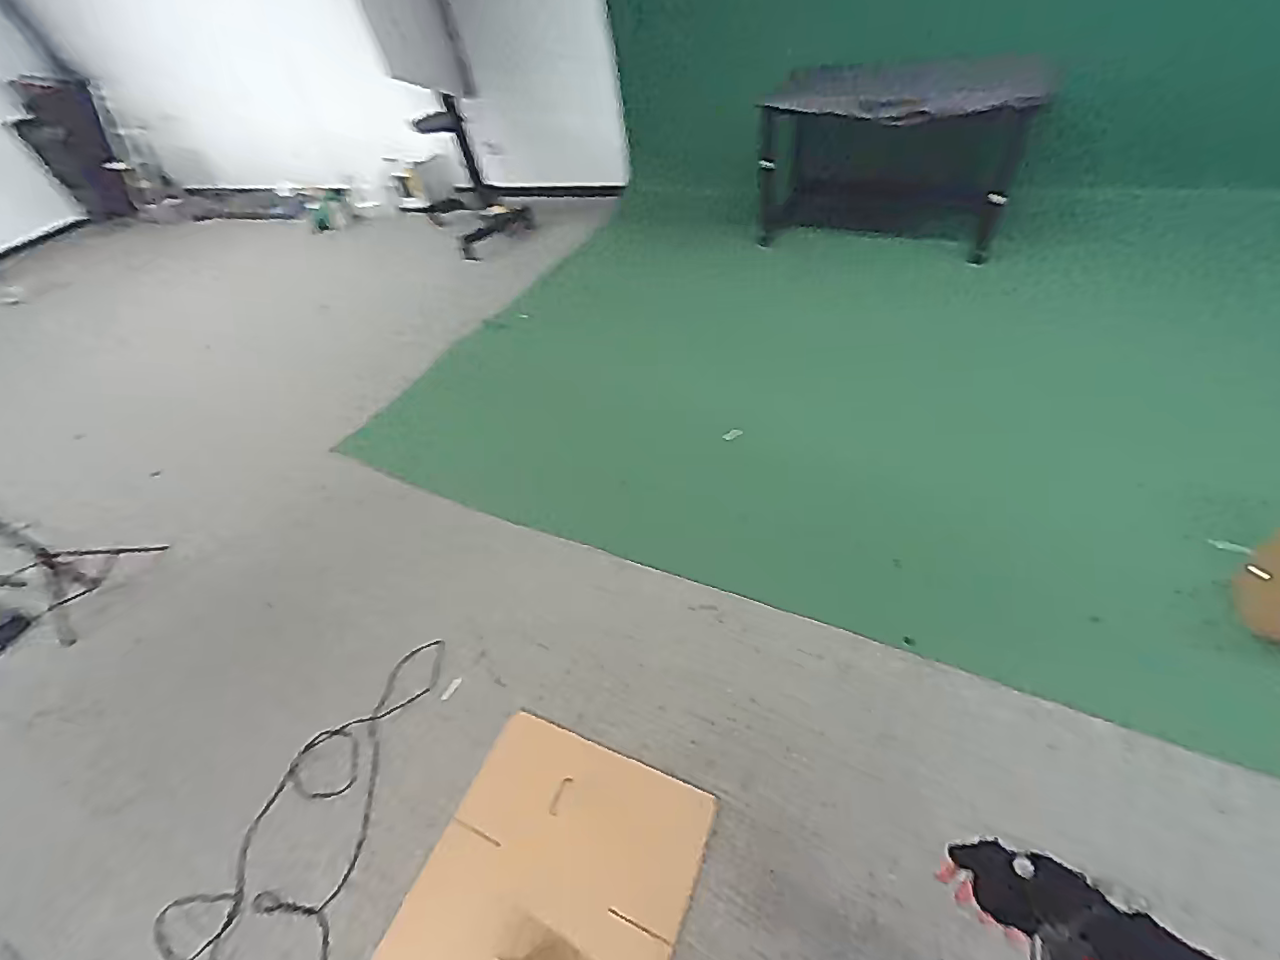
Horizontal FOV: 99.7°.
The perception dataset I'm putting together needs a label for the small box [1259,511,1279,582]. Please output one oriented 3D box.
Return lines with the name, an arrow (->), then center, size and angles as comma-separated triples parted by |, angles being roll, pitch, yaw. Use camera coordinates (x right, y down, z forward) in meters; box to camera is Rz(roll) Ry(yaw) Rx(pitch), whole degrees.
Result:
small box -> 1.583, 0.146, 1.231 | 0.168, 0.176, 0.179 | 12, 51, 22
